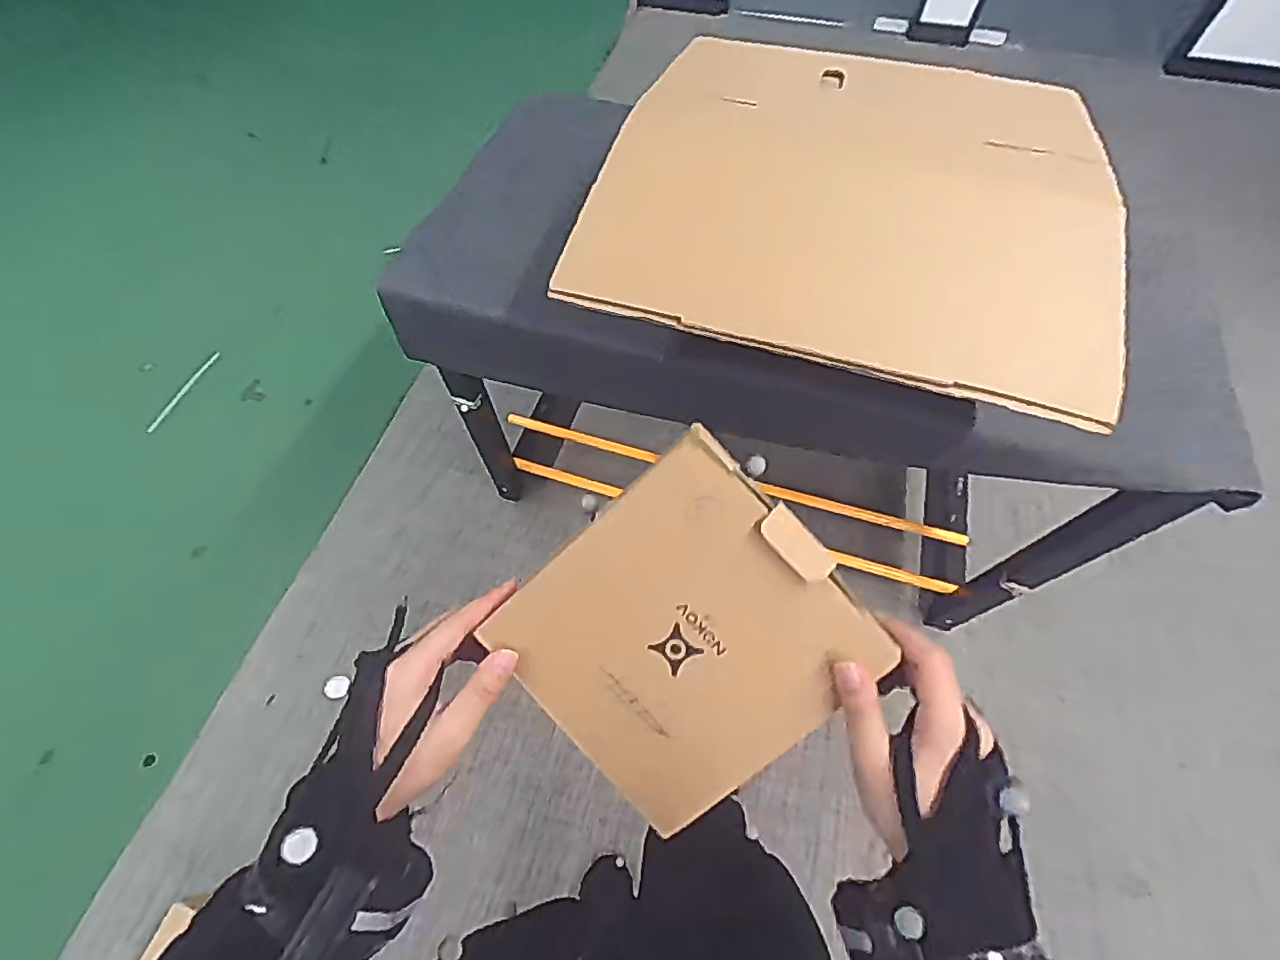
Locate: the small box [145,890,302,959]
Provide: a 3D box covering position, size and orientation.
[{"bbox_3d":[-0.731,0.850,0.935,0.168,0.176,0.179,16,63,9],"label":"small box"}]

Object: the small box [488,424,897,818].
[{"bbox_3d":[0.033,0.075,0.383,0.179,0.176,0.168,-44,90,9],"label":"small box"}]
